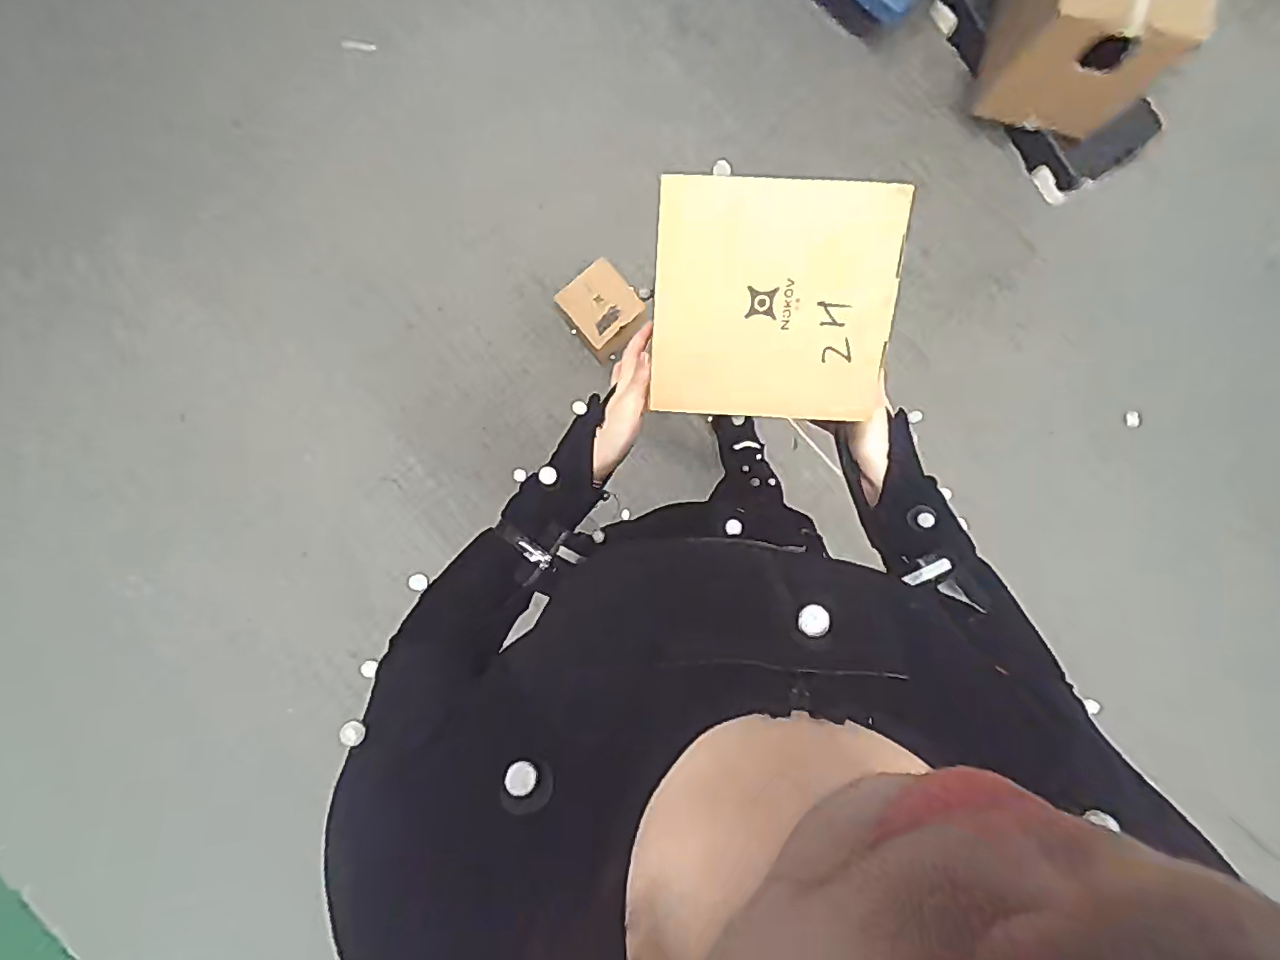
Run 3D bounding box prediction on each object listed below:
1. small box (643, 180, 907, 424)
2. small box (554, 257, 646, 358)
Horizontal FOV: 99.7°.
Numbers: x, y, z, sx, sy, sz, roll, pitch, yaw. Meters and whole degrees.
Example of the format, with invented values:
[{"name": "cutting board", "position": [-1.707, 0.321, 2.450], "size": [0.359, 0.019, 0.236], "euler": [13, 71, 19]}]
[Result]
[{"name": "small box", "position": [0.095, -0.150, 0.470], "size": [0.179, 0.176, 0.168], "euler": [2, 110, 1]}, {"name": "small box", "position": [-0.097, -0.440, 1.420], "size": [0.168, 0.176, 0.179], "euler": [-39, 89, 0]}]
